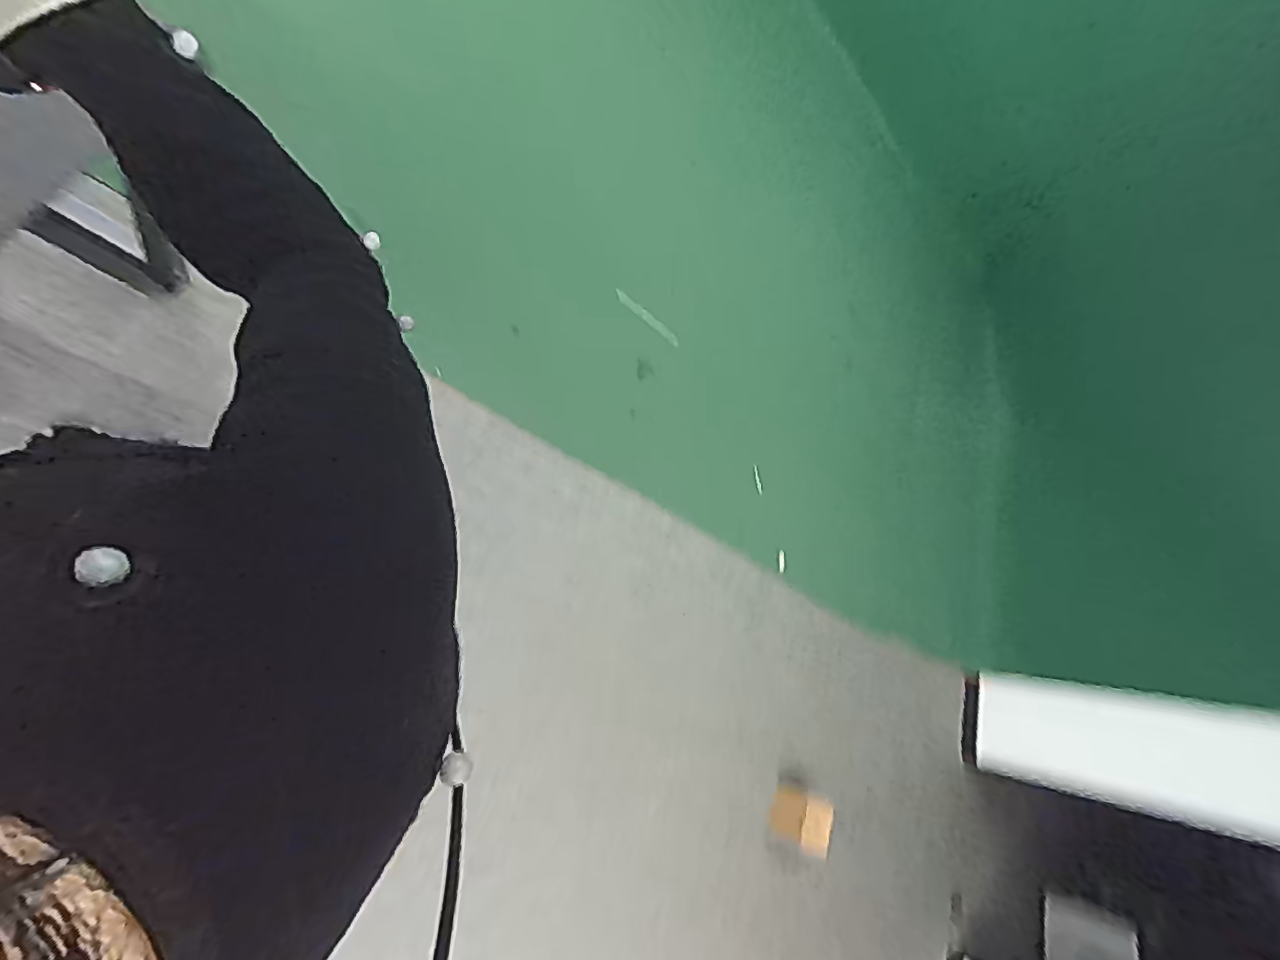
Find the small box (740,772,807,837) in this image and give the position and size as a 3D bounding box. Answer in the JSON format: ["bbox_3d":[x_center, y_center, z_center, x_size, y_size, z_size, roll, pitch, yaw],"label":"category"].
[{"bbox_3d":[0.534,1.293,2.164,0.179,0.176,0.168,37,62,-29],"label":"small box"}]
